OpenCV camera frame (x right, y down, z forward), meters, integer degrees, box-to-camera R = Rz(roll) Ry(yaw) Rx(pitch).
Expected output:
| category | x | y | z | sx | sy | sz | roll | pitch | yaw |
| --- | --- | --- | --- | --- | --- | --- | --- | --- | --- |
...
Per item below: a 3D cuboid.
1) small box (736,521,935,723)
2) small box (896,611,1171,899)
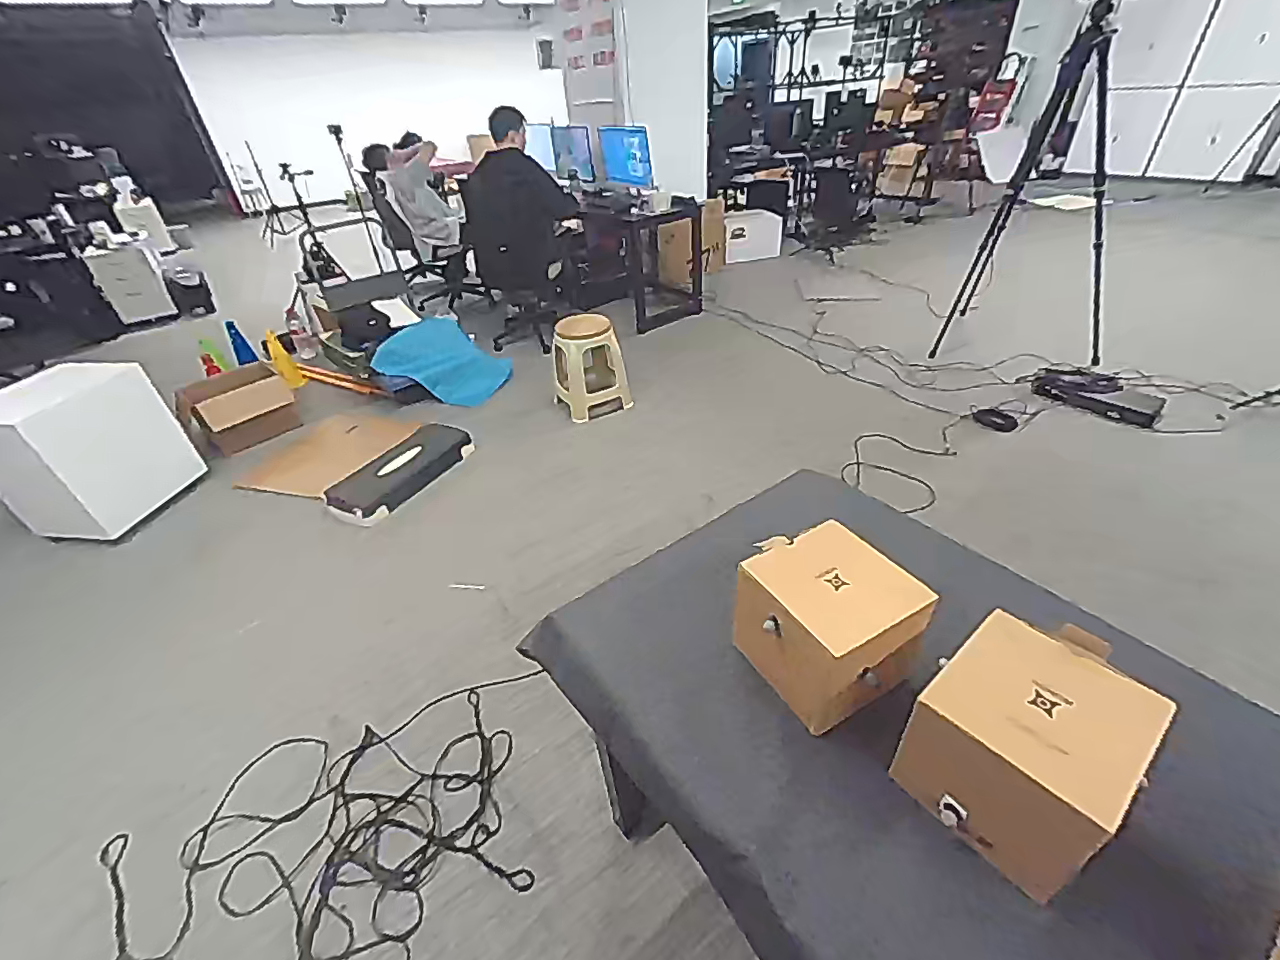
| category | x | y | z | sx | sy | sz | roll | pitch | yaw |
| --- | --- | --- | --- | --- | --- | --- | --- | --- | --- |
| small box | 0.245 | 0.191 | 0.719 | 0.168 | 0.176 | 0.179 | -20 | 38 | -21 |
| small box | 0.399 | 0.282 | 0.574 | 0.179 | 0.176 | 0.168 | -28 | 40 | -30 |
